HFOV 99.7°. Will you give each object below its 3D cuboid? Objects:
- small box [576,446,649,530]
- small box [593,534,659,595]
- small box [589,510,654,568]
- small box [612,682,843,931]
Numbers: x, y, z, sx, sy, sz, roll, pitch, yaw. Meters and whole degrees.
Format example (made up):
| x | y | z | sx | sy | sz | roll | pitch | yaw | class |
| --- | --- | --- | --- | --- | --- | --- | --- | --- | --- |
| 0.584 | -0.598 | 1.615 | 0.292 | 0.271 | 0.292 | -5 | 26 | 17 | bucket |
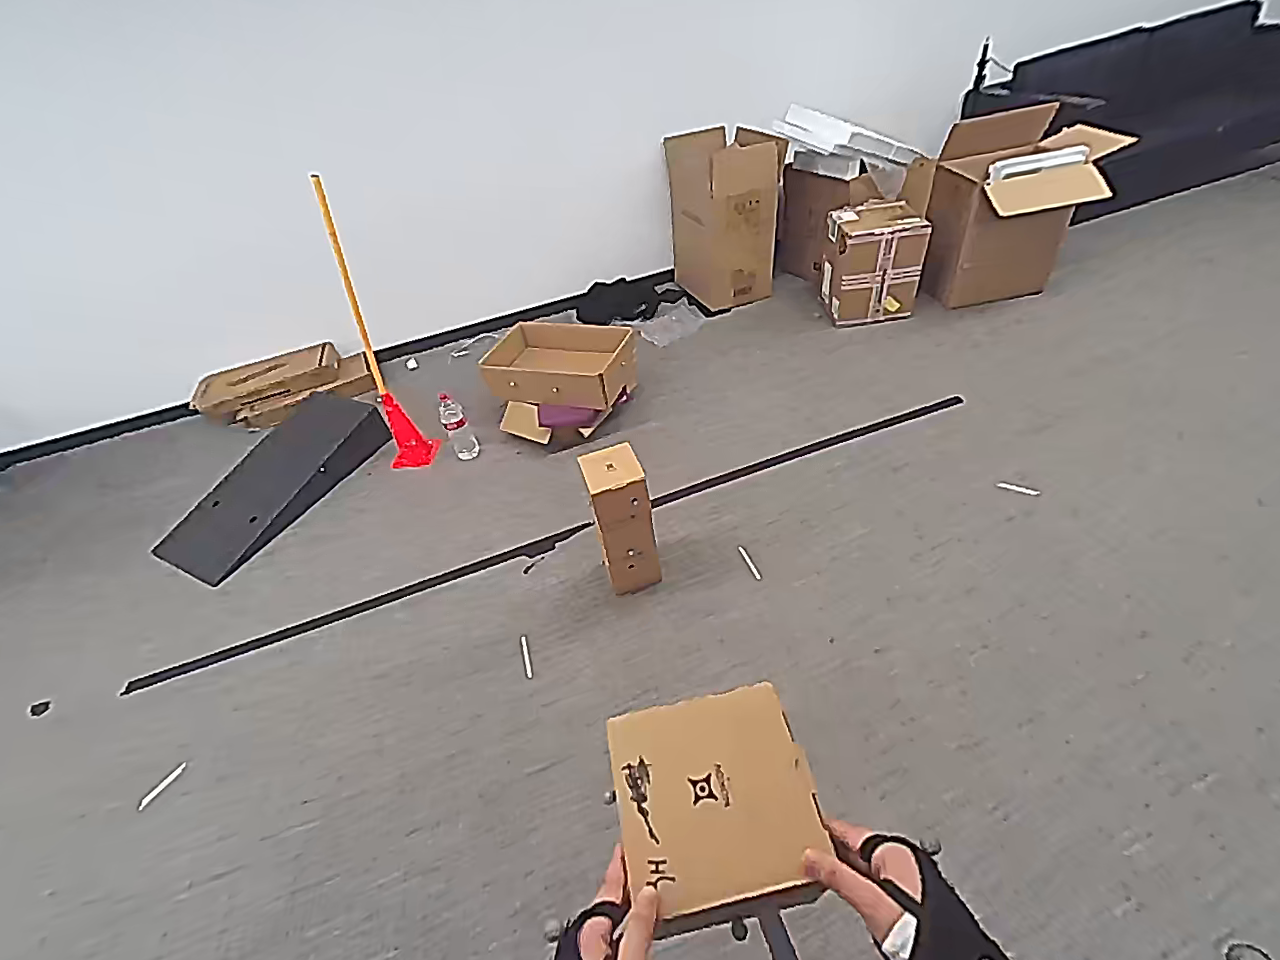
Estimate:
| x | y | z | sx | sy | sz | roll | pitch | yaw | class |
| --- | --- | --- | --- | --- | --- | --- | --- | --- | --- |
| -0.080 | 0.032 | 1.628 | 0.168 | 0.176 | 0.179 | -17 | 43 | -10 | small box |
| -0.045 | 0.268 | 1.851 | 0.179 | 0.176 | 0.168 | -17 | 44 | -9 | small box |
| -0.062 | 0.151 | 1.736 | 0.168 | 0.176 | 0.179 | -18 | 44 | -8 | small box |
| 0.075 | 0.332 | 0.549 | 0.179 | 0.176 | 0.168 | -11 | 46 | -4 | small box |
